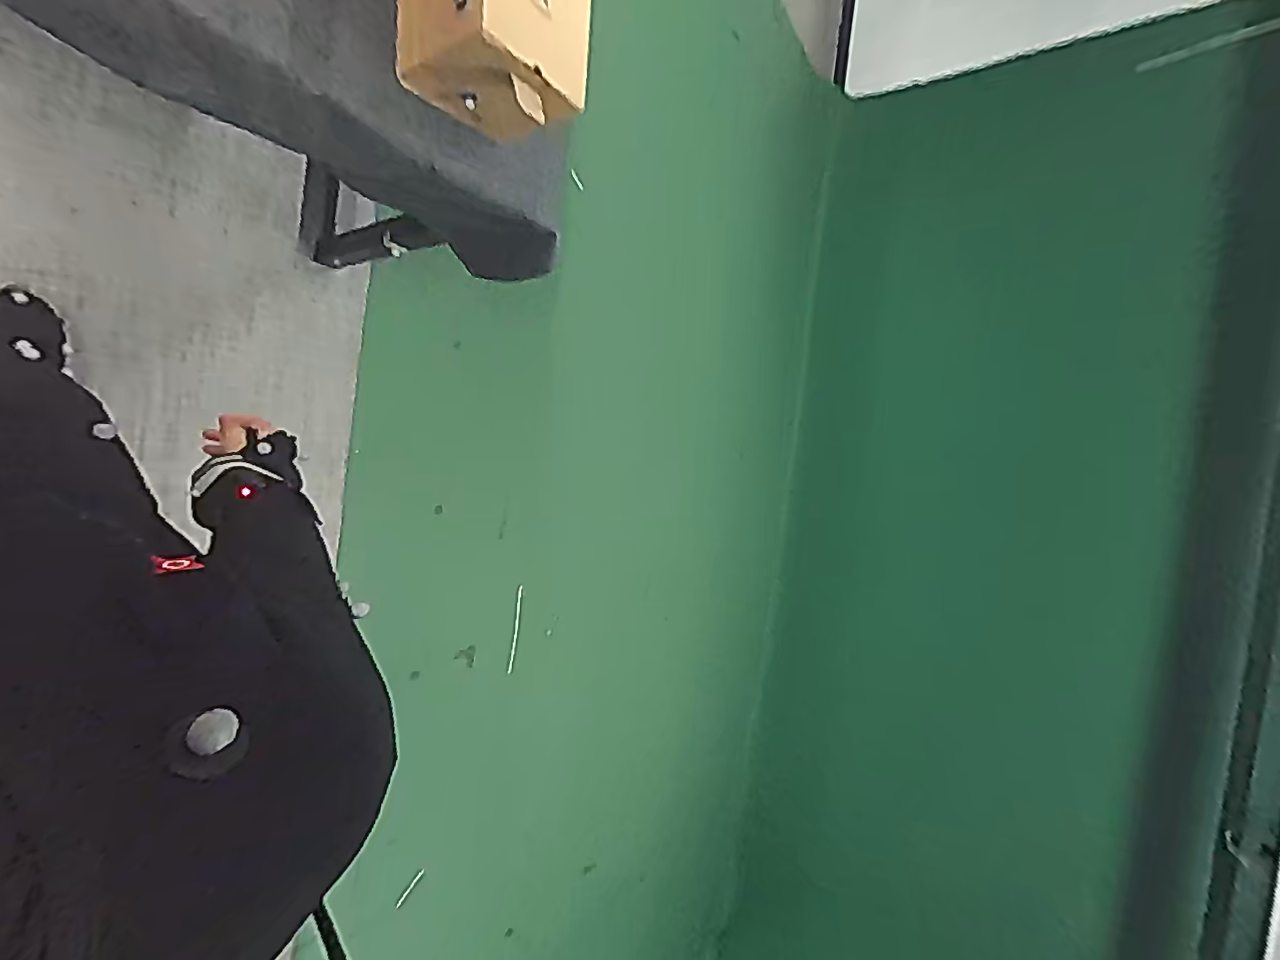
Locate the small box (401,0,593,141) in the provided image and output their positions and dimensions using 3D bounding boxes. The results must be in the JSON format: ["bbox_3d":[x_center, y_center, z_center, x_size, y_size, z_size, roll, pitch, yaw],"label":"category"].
[{"bbox_3d":[-0.178,-0.568,0.677,0.168,0.176,0.179,-3,99,-54],"label":"small box"}]
